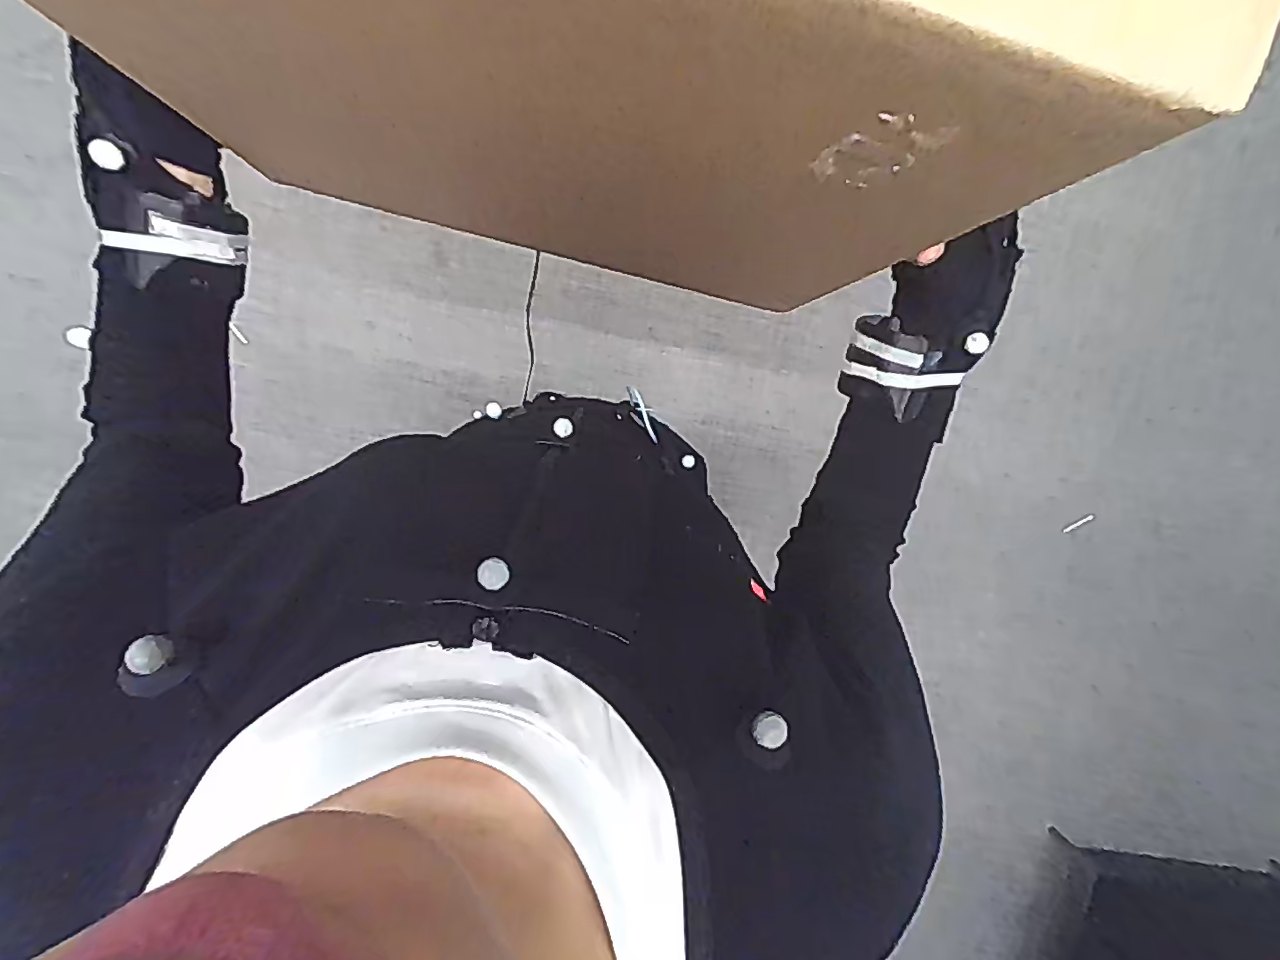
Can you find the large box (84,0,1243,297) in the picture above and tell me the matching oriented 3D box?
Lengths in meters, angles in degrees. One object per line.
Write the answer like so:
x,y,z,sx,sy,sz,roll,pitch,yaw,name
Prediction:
-0.016,-0.312,0.256,0.408,0.320,0.320,12,97,-9,large box
